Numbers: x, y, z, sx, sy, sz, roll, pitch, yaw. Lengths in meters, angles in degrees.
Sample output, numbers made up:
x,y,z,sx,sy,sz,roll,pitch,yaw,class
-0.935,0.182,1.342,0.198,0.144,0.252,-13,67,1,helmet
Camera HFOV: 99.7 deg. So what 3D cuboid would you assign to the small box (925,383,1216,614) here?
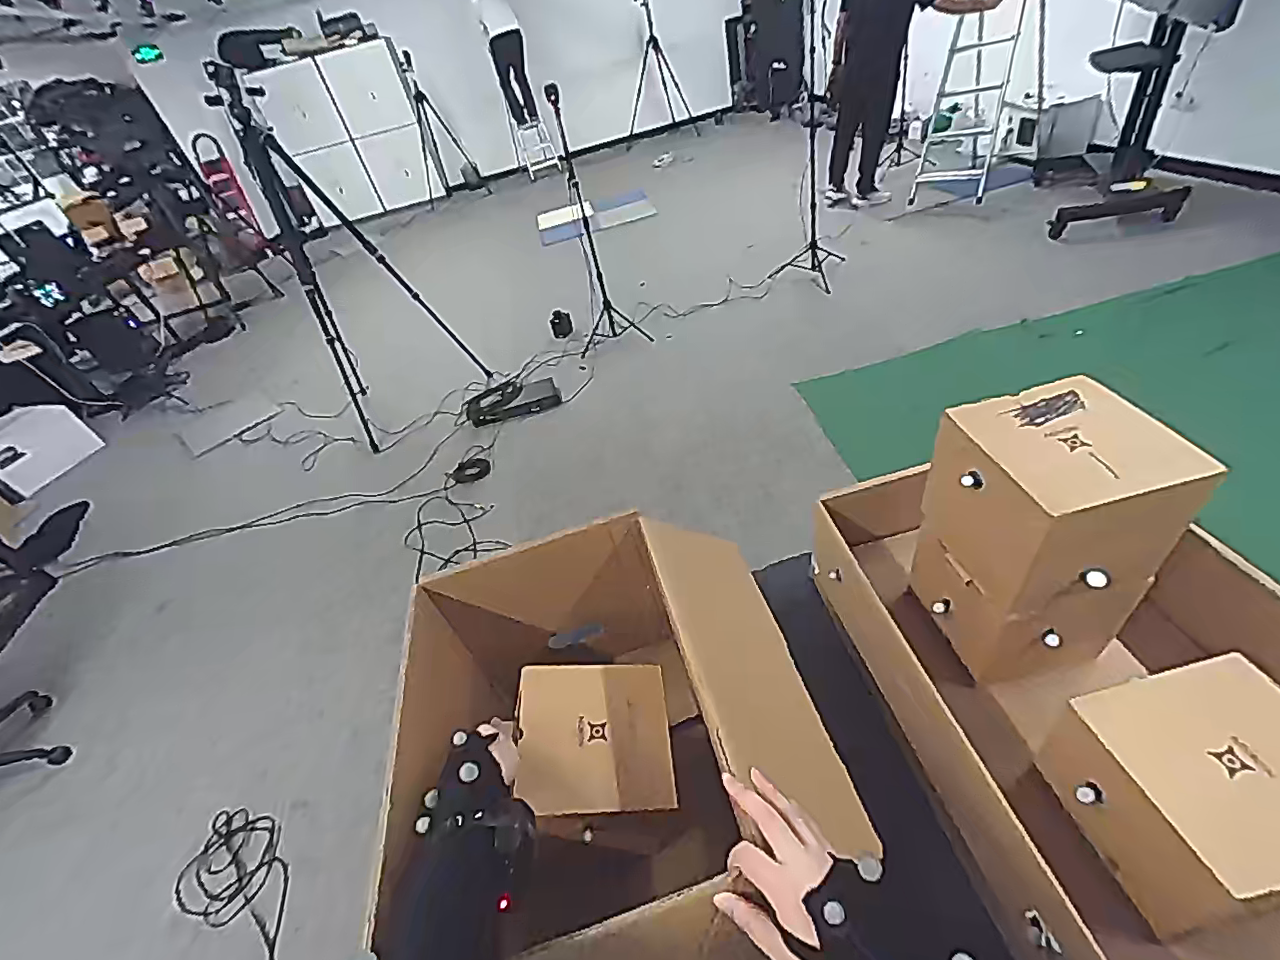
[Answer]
x,y,z,sx,sy,sz,roll,pitch,yaw,class
0.453,0.021,0.613,0.168,0.176,0.179,-15,43,1,small box
